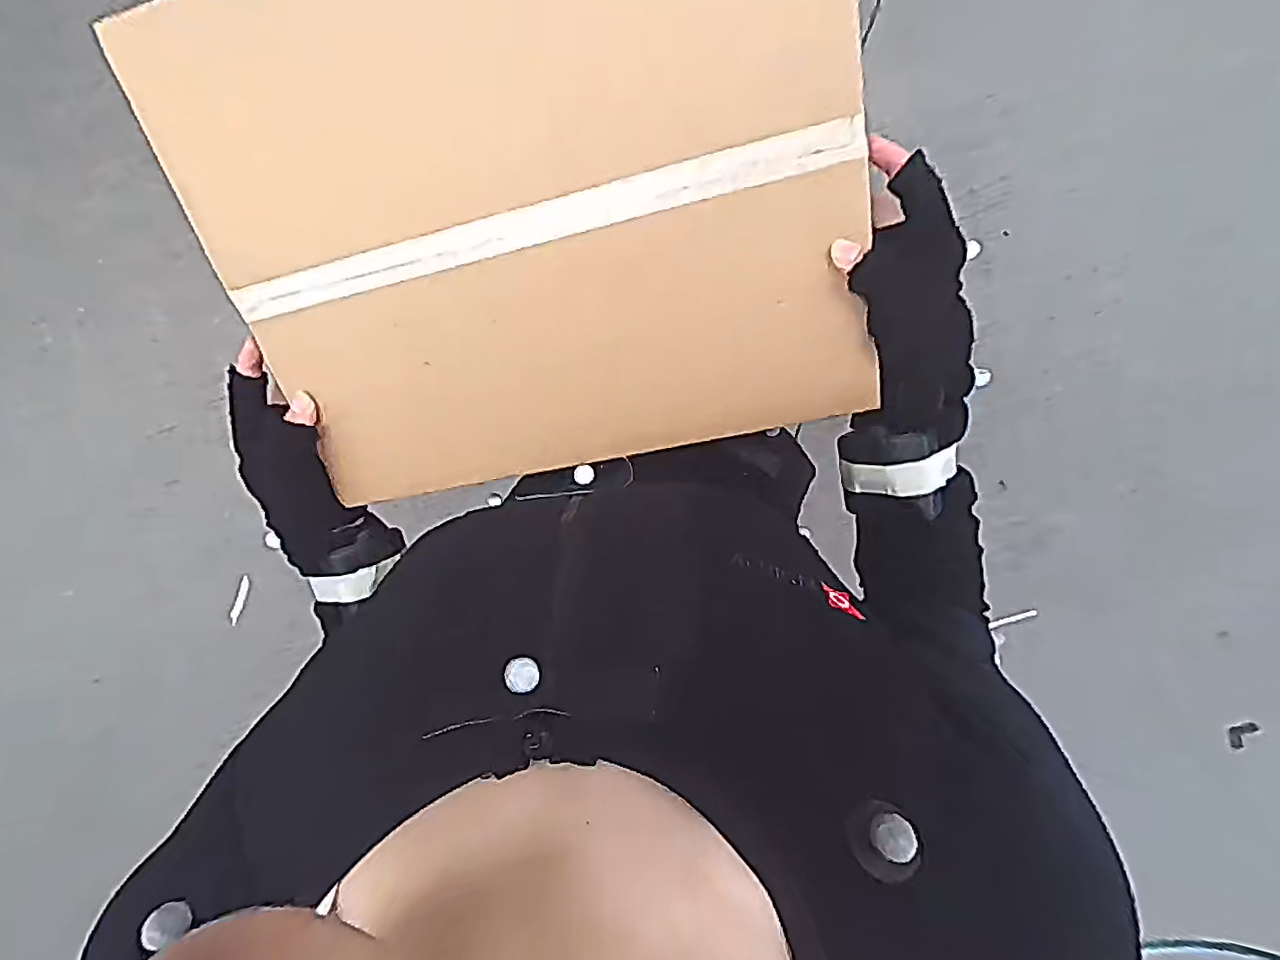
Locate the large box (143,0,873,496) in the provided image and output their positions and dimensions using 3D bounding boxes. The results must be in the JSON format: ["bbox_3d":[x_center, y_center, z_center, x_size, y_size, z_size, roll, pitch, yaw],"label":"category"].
[{"bbox_3d":[-0.058,-0.219,0.475,0.408,0.320,0.320,-10,115,10],"label":"large box"}]
